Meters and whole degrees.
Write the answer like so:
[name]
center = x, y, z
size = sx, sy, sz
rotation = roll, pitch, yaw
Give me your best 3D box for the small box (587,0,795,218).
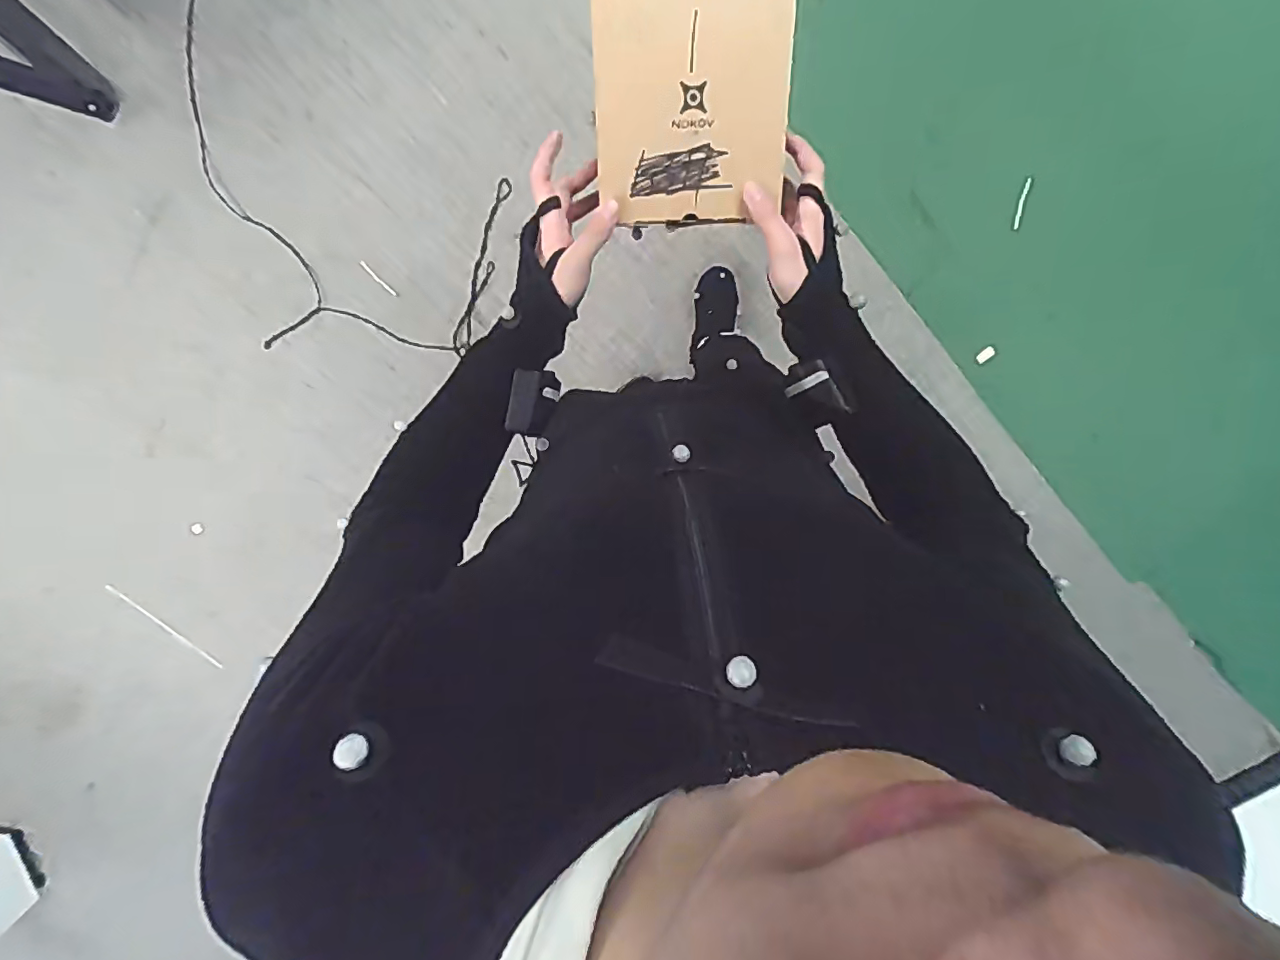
[small box]
center = 0.041, -0.351, 0.522
size = 0.168, 0.176, 0.179
rotation = -1, 114, 0
